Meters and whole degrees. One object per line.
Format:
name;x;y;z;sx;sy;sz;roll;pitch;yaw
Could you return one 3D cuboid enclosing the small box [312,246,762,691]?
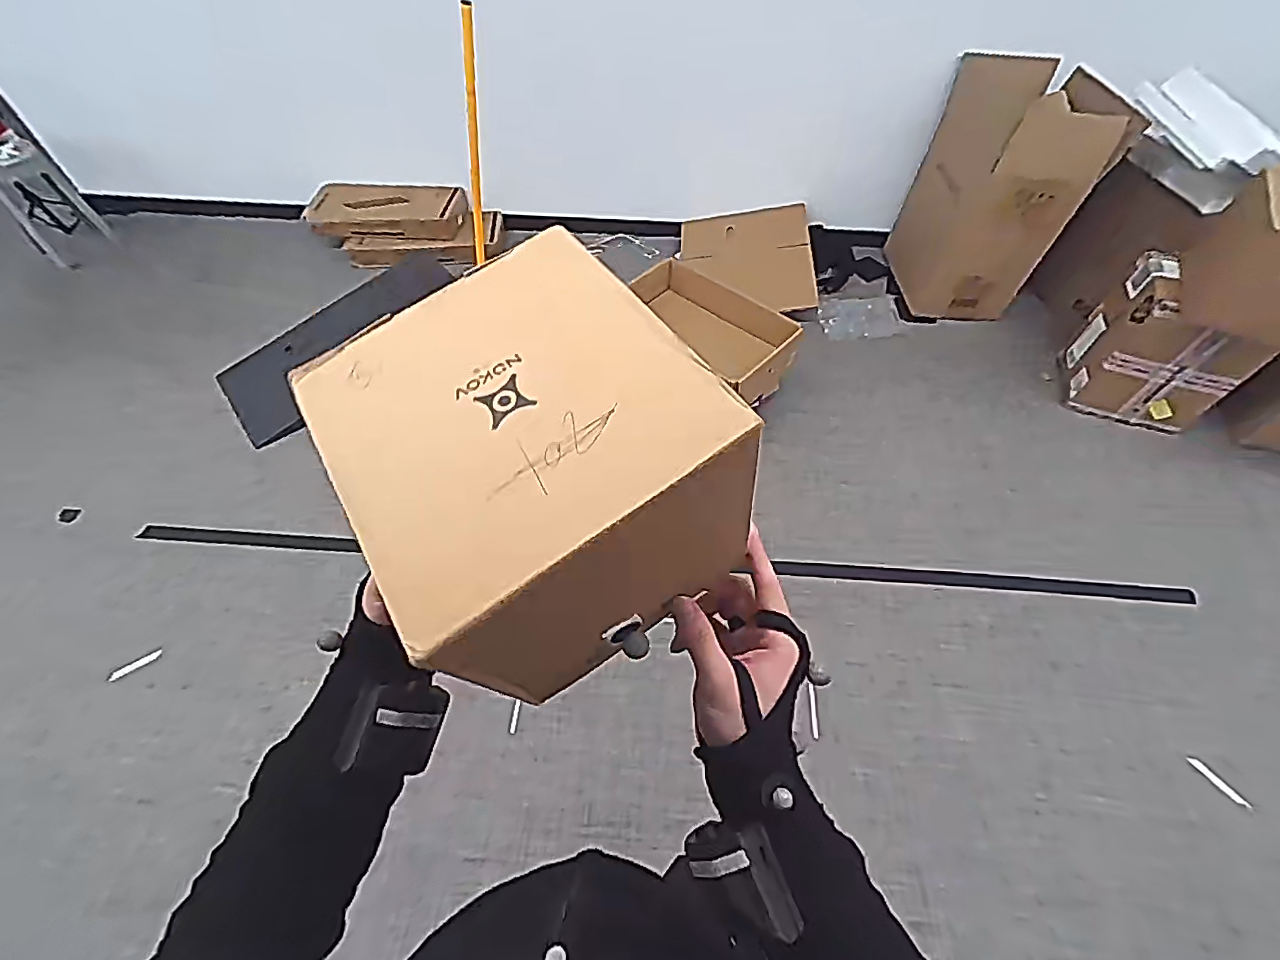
small box;-0.049;0.004;0.331;0.168;0.176;0.179;-35;64;-9
